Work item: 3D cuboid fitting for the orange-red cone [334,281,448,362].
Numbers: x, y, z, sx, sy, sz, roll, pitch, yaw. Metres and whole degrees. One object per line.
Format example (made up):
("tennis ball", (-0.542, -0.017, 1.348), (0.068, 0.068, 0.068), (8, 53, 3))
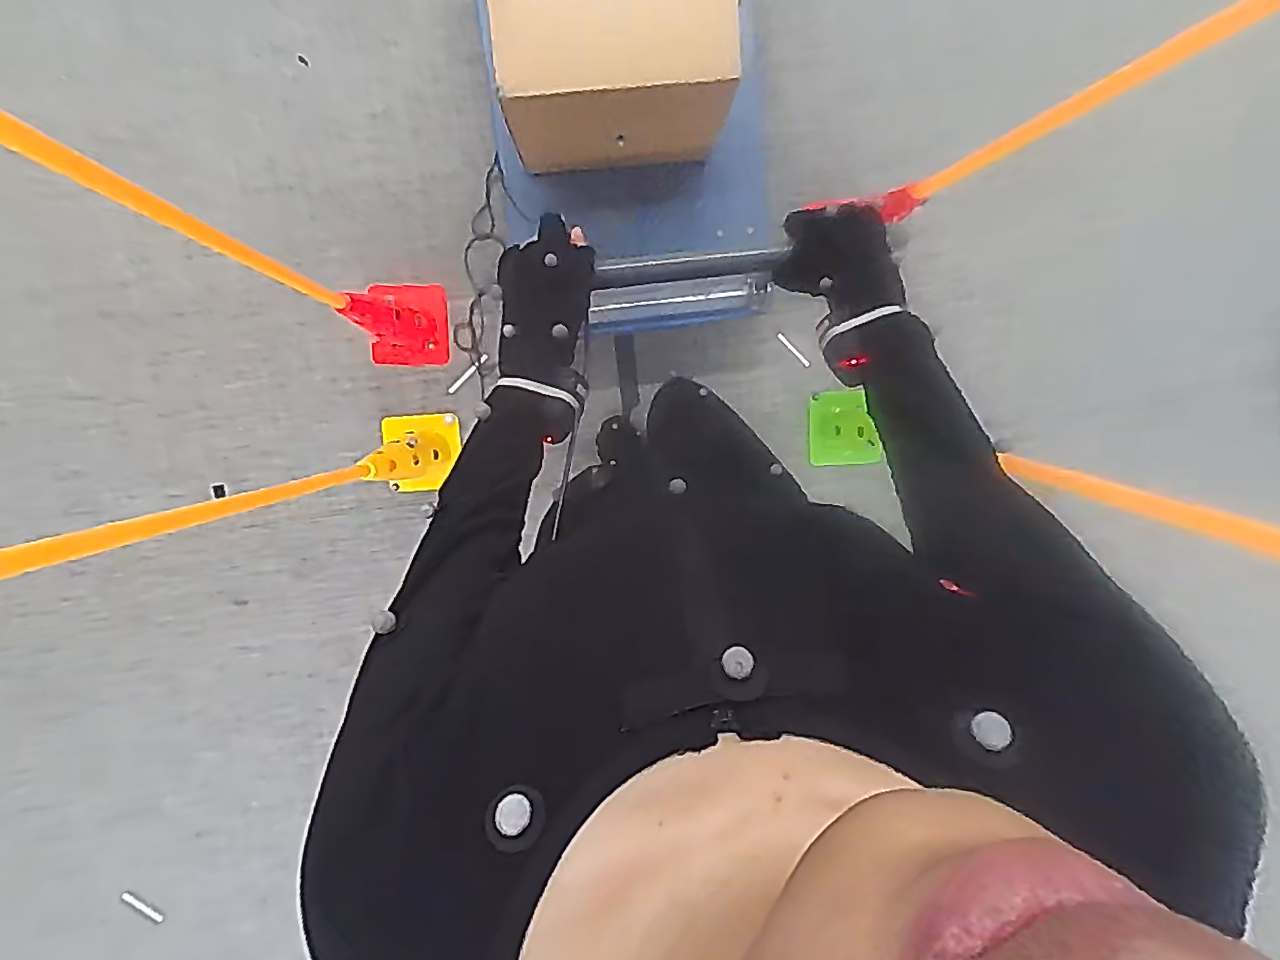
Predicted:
("orange-red cone", (-0.580, -0.380, 1.207), (0.198, 0.360, 0.199), (0, 97, -4))

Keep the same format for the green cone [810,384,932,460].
("green cone", (0.569, -0.131, 1.294), (0.202, 0.368, 0.200), (-4, 99, -3))

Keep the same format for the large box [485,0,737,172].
("large box", (-0.057, -0.815, 1.014), (0.408, 0.320, 0.320), (-6, 99, -1))
